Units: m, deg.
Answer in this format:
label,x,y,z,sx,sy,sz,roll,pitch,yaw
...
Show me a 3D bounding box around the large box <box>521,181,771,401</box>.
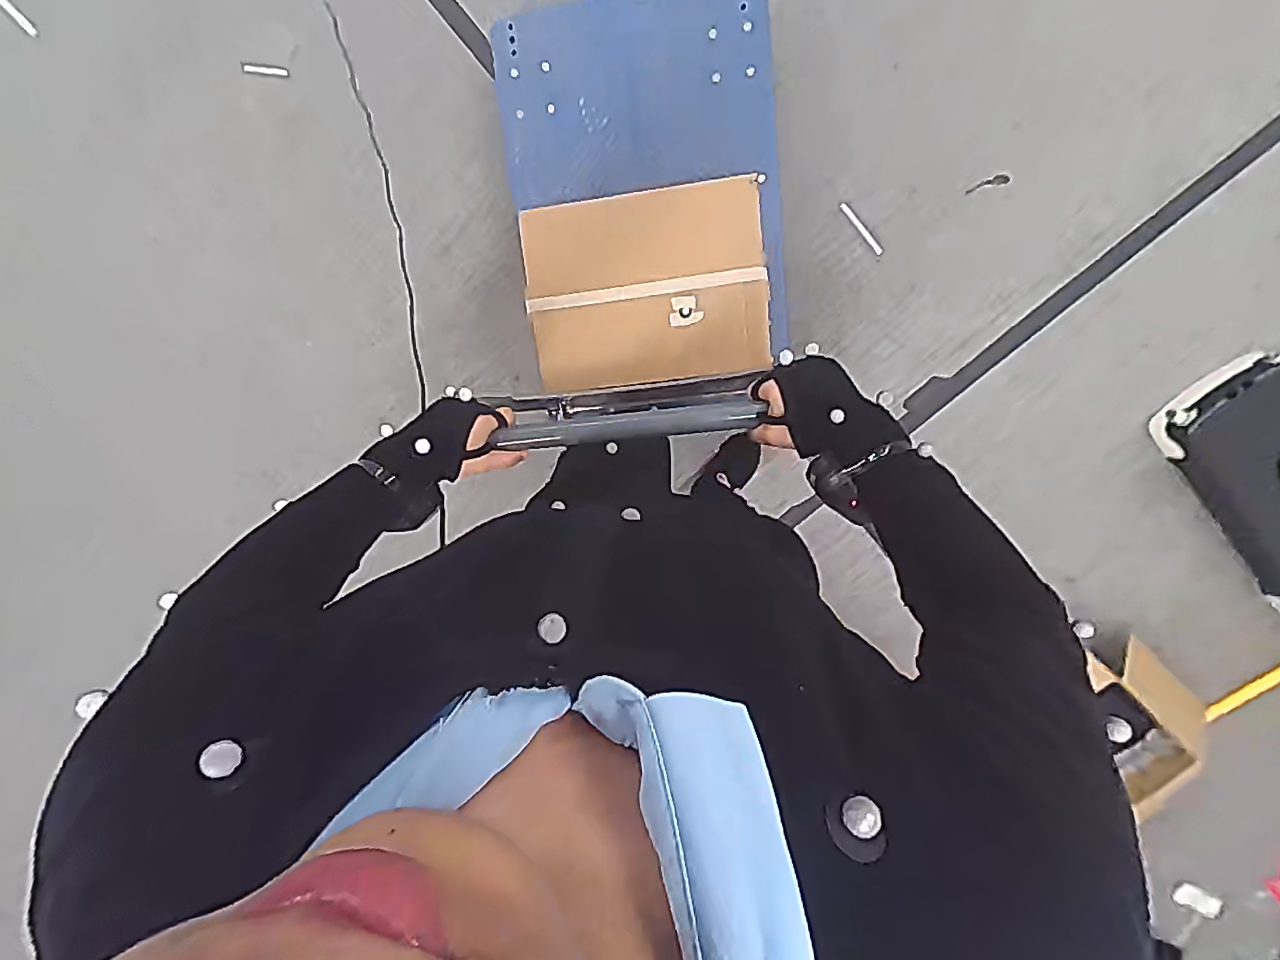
label,x,y,z,sx,sy,sz,roll,pitch,yaw
large box,0.023,-0.338,1.067,0.408,0.320,0.320,-6,100,7
